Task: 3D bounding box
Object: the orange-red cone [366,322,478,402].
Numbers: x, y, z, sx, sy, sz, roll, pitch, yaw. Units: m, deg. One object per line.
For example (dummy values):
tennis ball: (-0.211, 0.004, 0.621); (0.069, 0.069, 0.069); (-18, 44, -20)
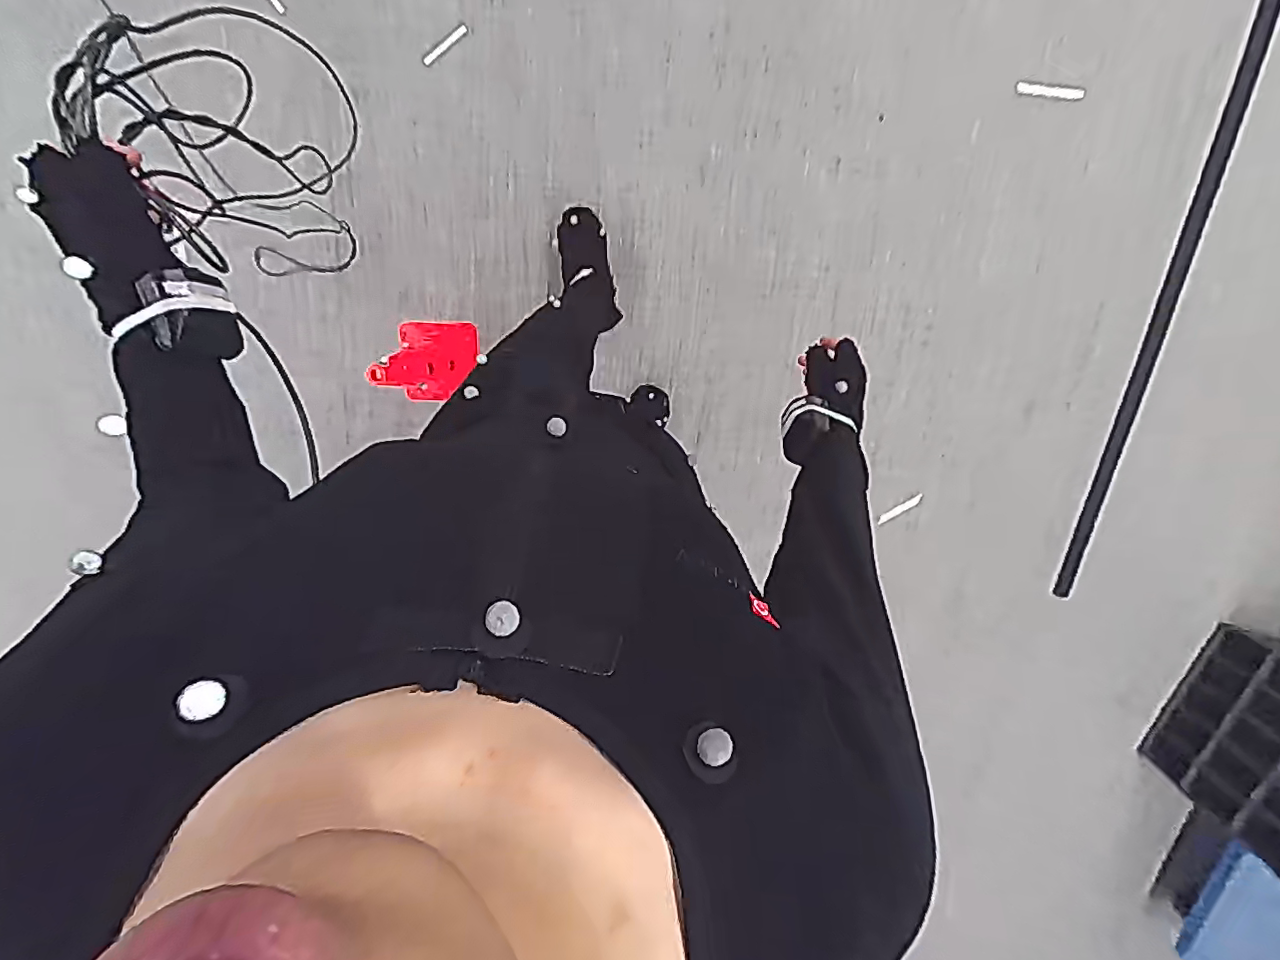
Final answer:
orange-red cone: (-0.515, -0.251, 1.221); (0.199, 0.360, 0.198); (1, 107, -1)
